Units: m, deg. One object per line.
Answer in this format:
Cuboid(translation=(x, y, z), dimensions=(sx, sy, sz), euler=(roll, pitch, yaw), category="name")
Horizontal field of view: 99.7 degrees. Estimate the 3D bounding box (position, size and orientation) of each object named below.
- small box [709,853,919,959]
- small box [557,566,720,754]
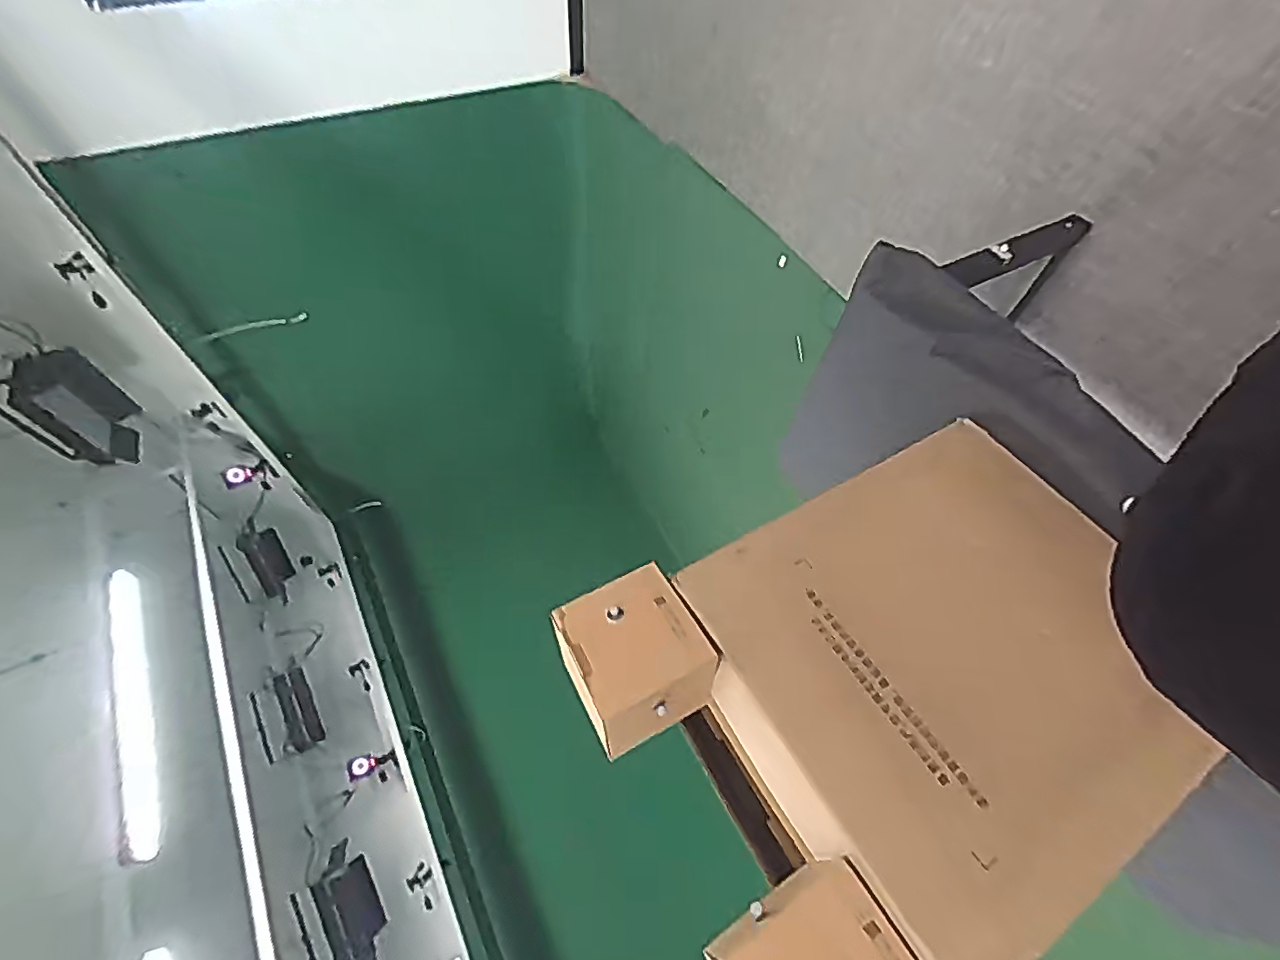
Cuboid(translation=(0.199, 0.544, 0.592), dimensions=(0.168, 0.176, 0.179), euler=(53, 157, 32), category="small box")
Cuboid(translation=(0.000, 0.254, 0.777), dimensions=(0.168, 0.176, 0.179), euler=(55, 160, 36), category="small box")
